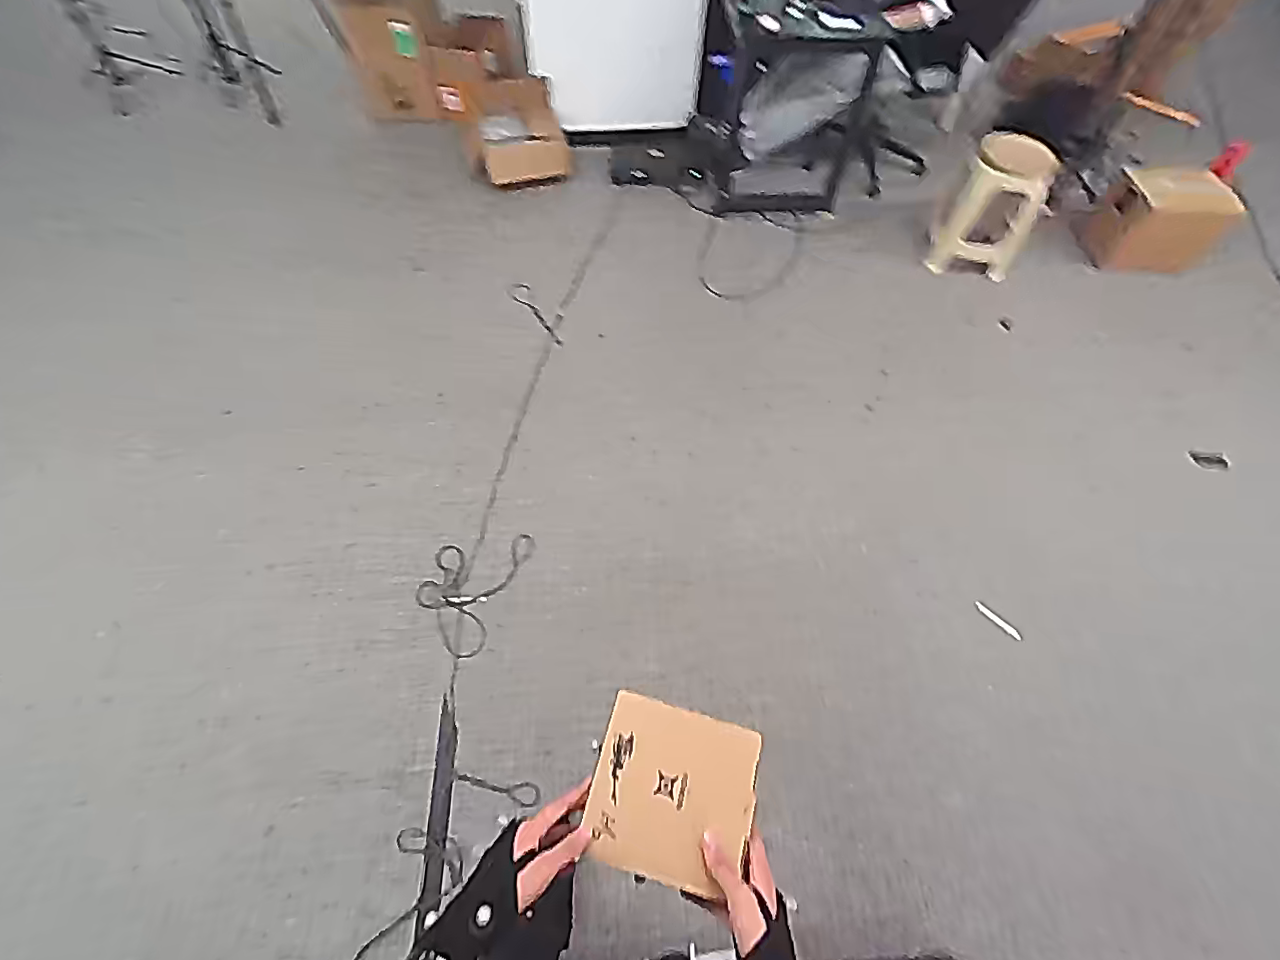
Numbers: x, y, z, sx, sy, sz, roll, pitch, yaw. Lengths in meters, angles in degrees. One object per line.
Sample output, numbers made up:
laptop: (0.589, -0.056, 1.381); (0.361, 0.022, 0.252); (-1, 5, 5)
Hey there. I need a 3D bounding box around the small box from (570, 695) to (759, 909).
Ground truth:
small box: (0.025, 0.376, 0.650); (0.179, 0.176, 0.168); (15, 60, 3)
